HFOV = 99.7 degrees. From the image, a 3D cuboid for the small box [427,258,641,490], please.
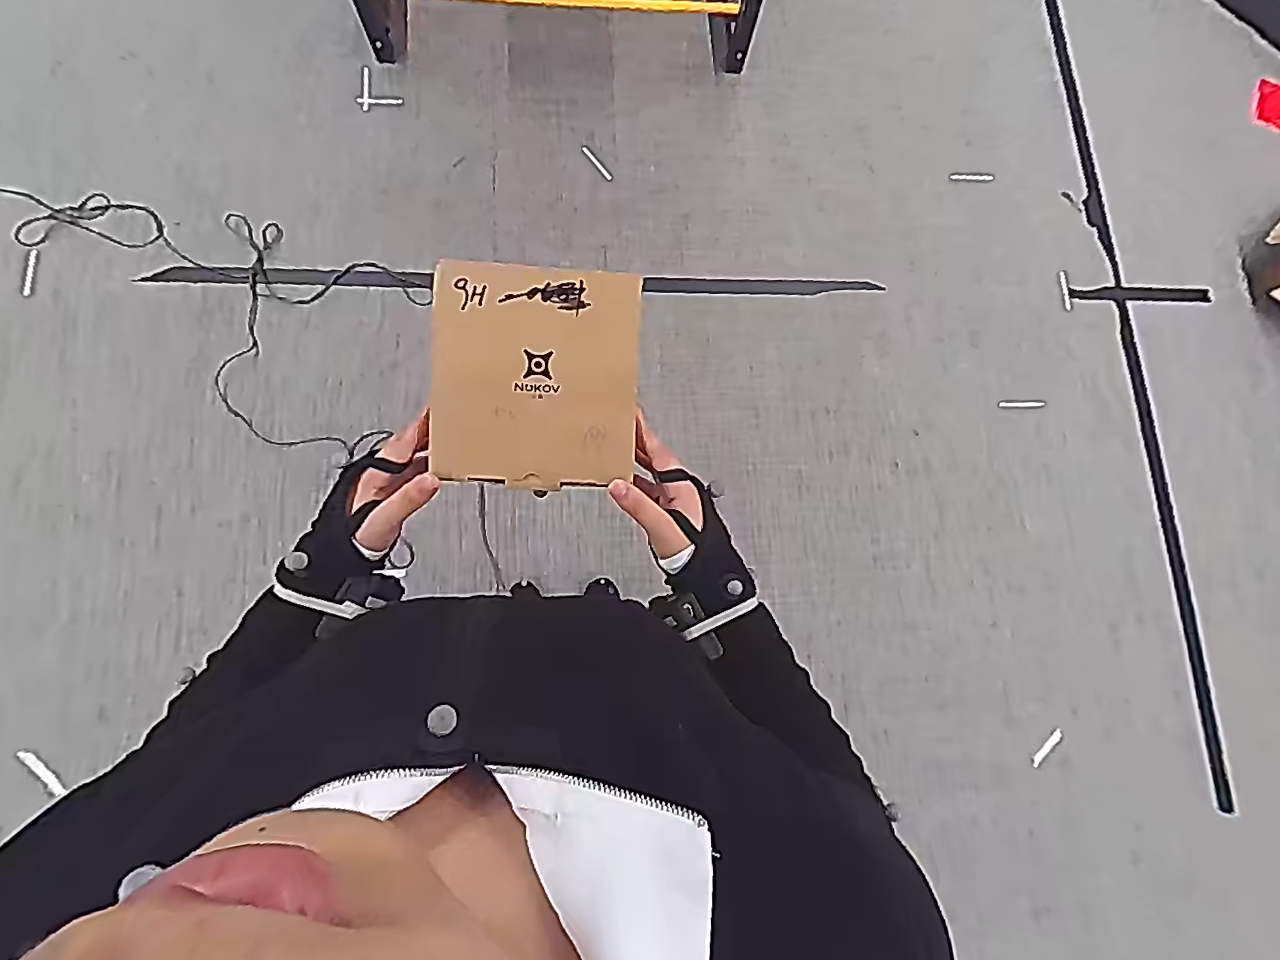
[{"bbox_3d":[-0.091,-0.087,0.511,0.168,0.176,0.179,3,92,-5],"label":"small box"}]
